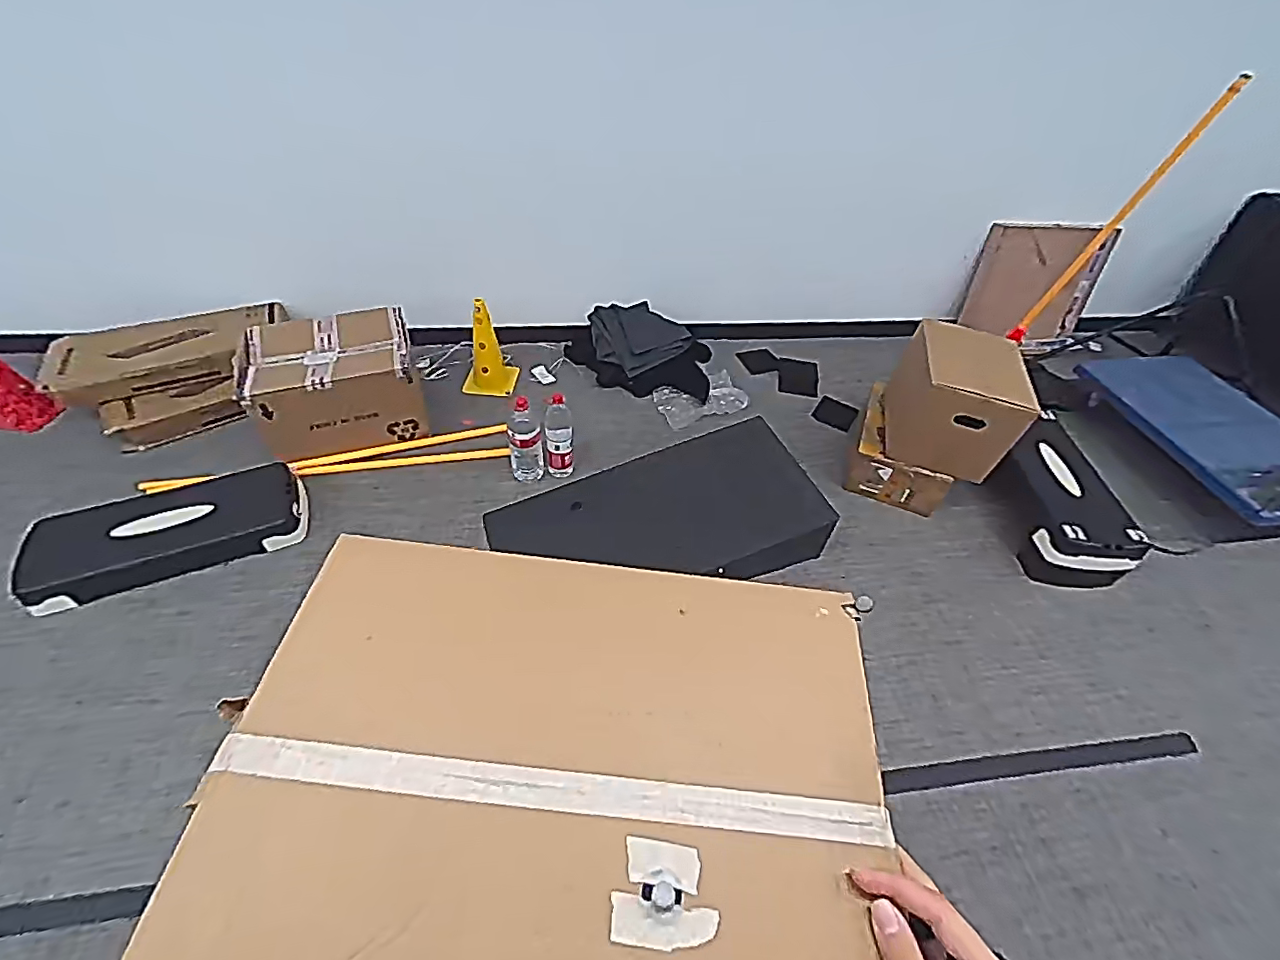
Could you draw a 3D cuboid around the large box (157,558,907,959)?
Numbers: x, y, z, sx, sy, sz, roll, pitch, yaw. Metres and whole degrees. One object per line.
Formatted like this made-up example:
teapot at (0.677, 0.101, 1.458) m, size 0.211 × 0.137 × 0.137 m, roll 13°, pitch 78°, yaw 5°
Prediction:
large box at (-0.056, 0.292, 0.449) m, size 0.408 × 0.320 × 0.320 m, roll 7°, pitch 52°, yaw 0°
